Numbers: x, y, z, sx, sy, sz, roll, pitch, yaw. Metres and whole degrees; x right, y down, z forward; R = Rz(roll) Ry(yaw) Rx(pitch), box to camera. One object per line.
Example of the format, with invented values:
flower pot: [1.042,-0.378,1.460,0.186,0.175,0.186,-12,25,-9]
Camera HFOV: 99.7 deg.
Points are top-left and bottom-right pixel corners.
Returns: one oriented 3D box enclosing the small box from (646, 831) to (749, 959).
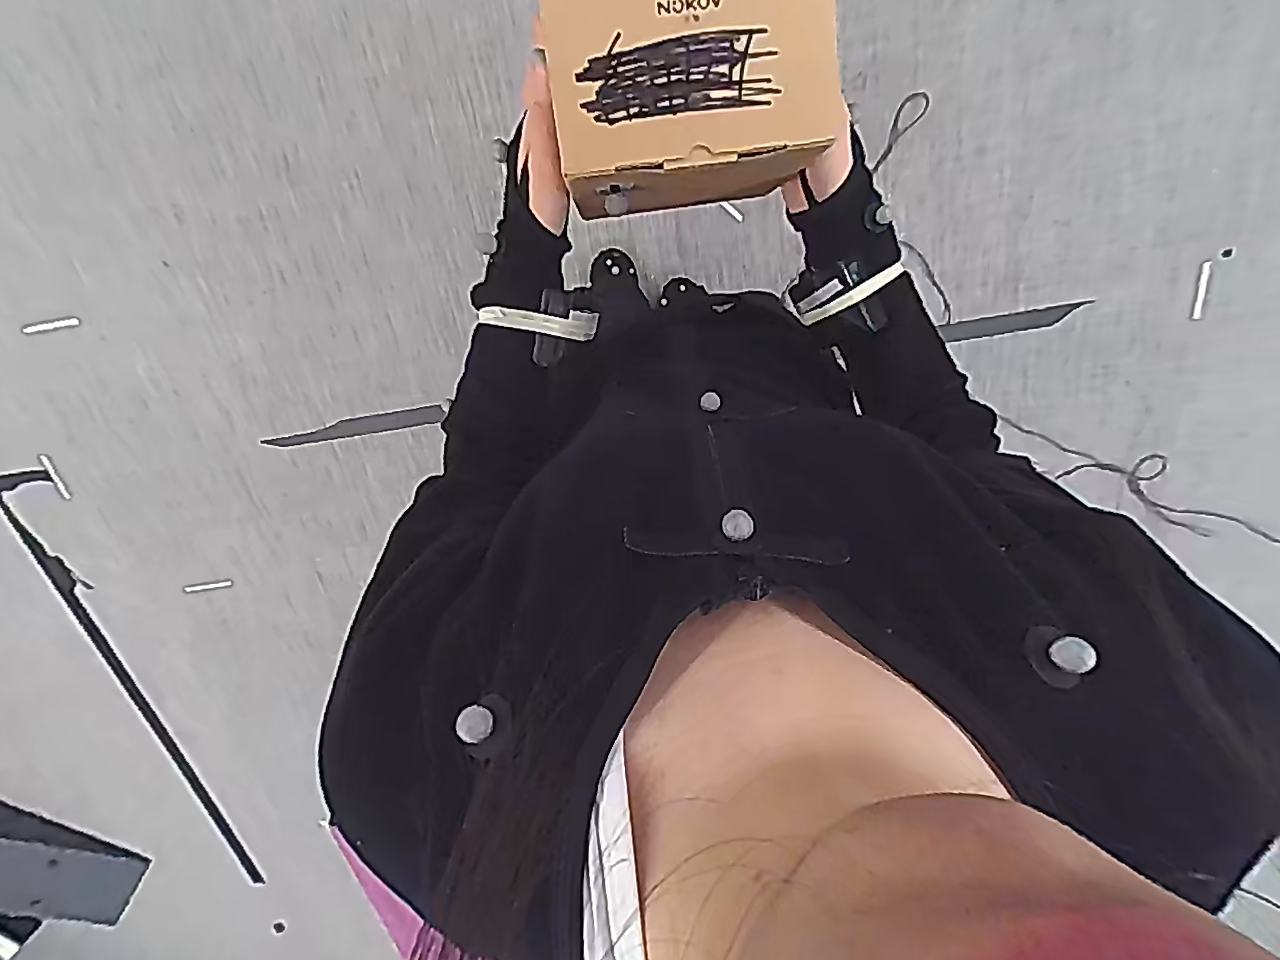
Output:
small box: [0.101,0.776,0.978,0.168,0.176,0.179,-7,112,2]
